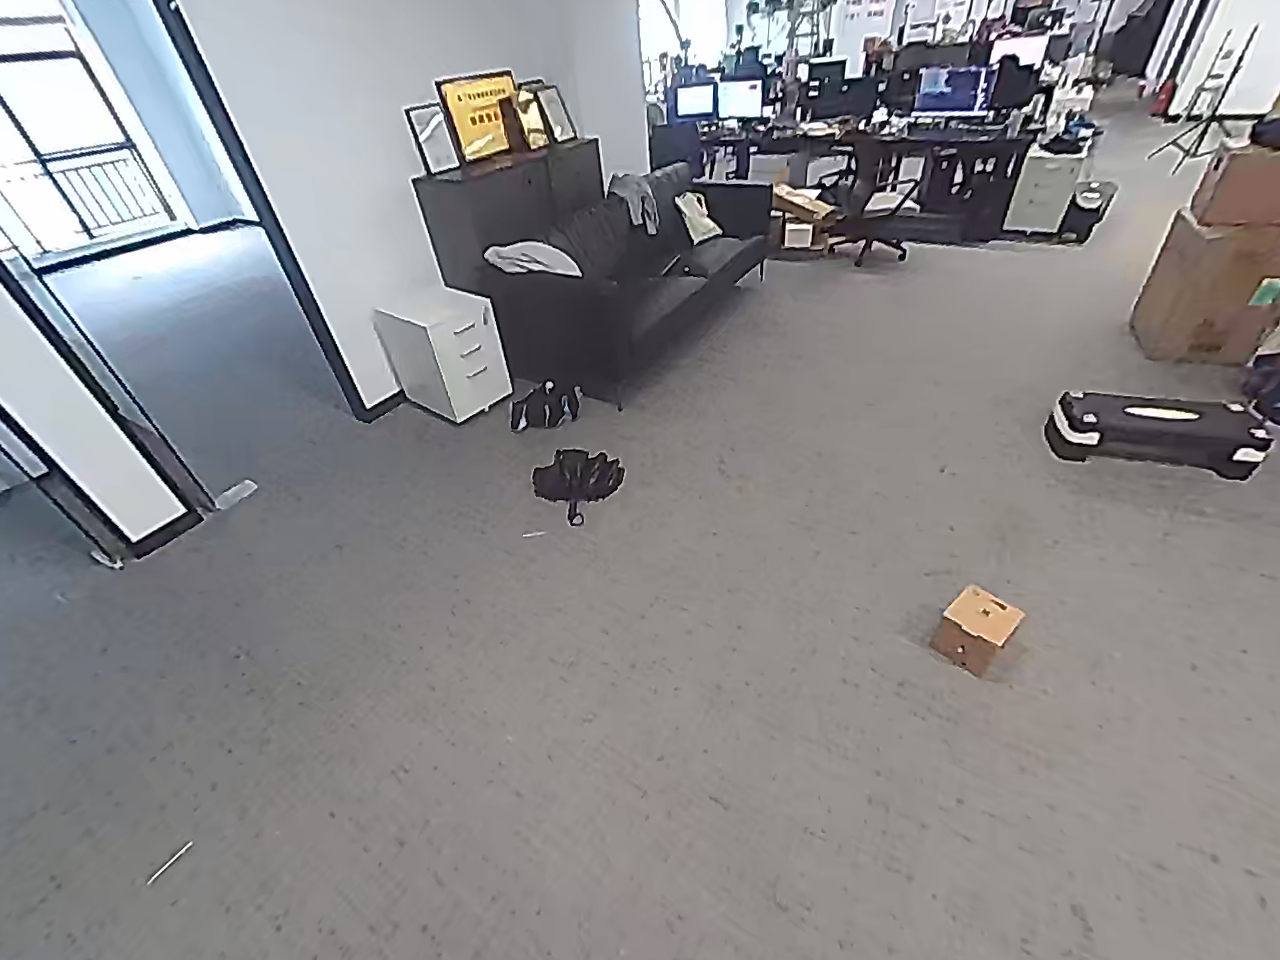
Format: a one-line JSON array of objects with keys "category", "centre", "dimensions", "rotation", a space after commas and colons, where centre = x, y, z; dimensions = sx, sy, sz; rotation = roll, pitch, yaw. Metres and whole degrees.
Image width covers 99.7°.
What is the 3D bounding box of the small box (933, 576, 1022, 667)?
[{"category": "small box", "centre": [1.036, 0.440, 1.674], "dimensions": [0.179, 0.176, 0.168], "rotation": [-32, 45, -26]}]
